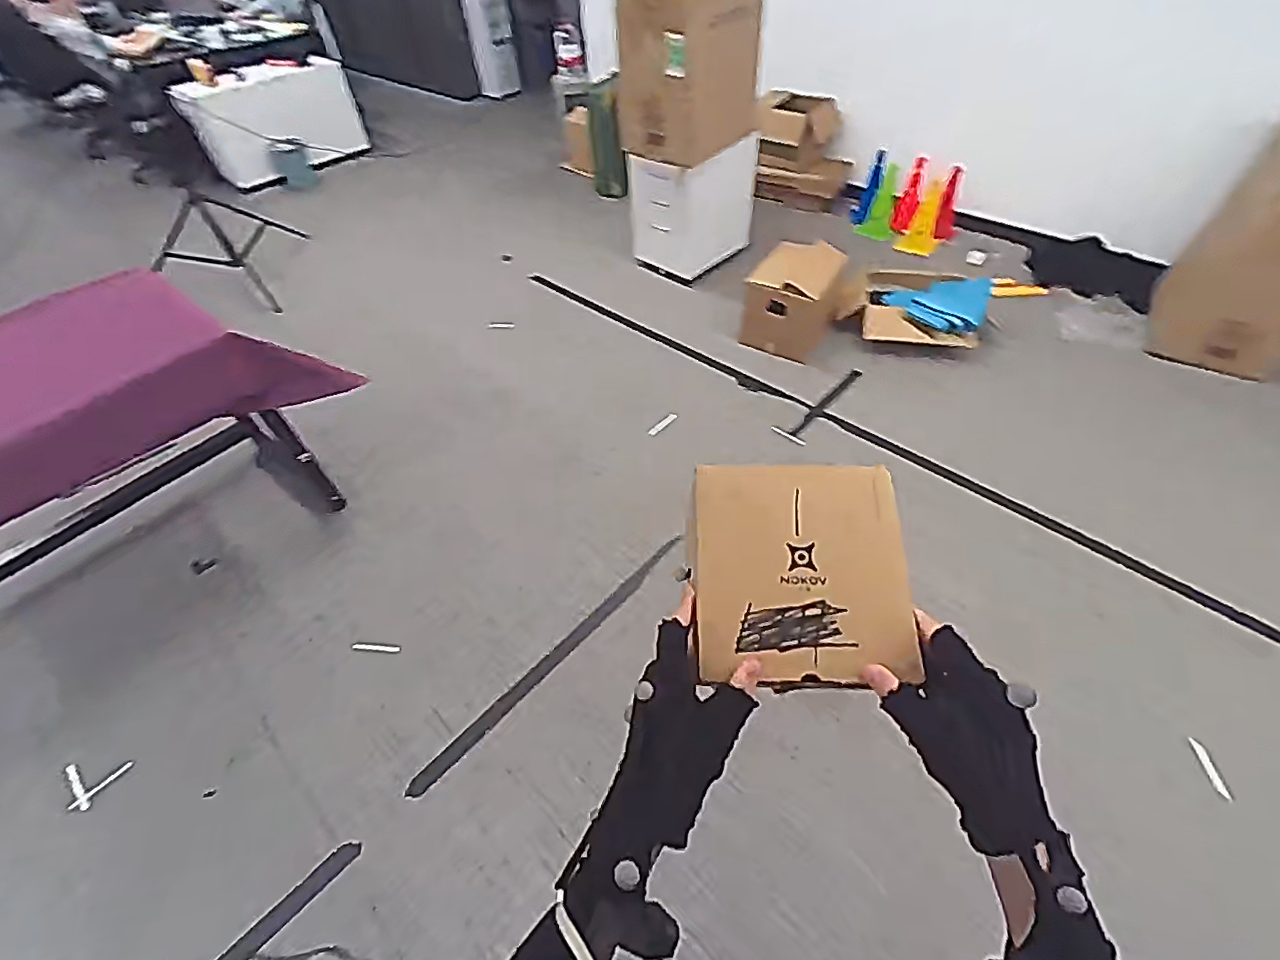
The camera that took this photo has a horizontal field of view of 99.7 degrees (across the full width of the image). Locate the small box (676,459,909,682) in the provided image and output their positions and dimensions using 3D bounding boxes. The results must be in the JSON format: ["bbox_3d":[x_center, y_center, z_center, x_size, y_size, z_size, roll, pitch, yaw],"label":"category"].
[{"bbox_3d":[0.120,0.092,0.501,0.168,0.176,0.179,0,68,1],"label":"small box"}]
